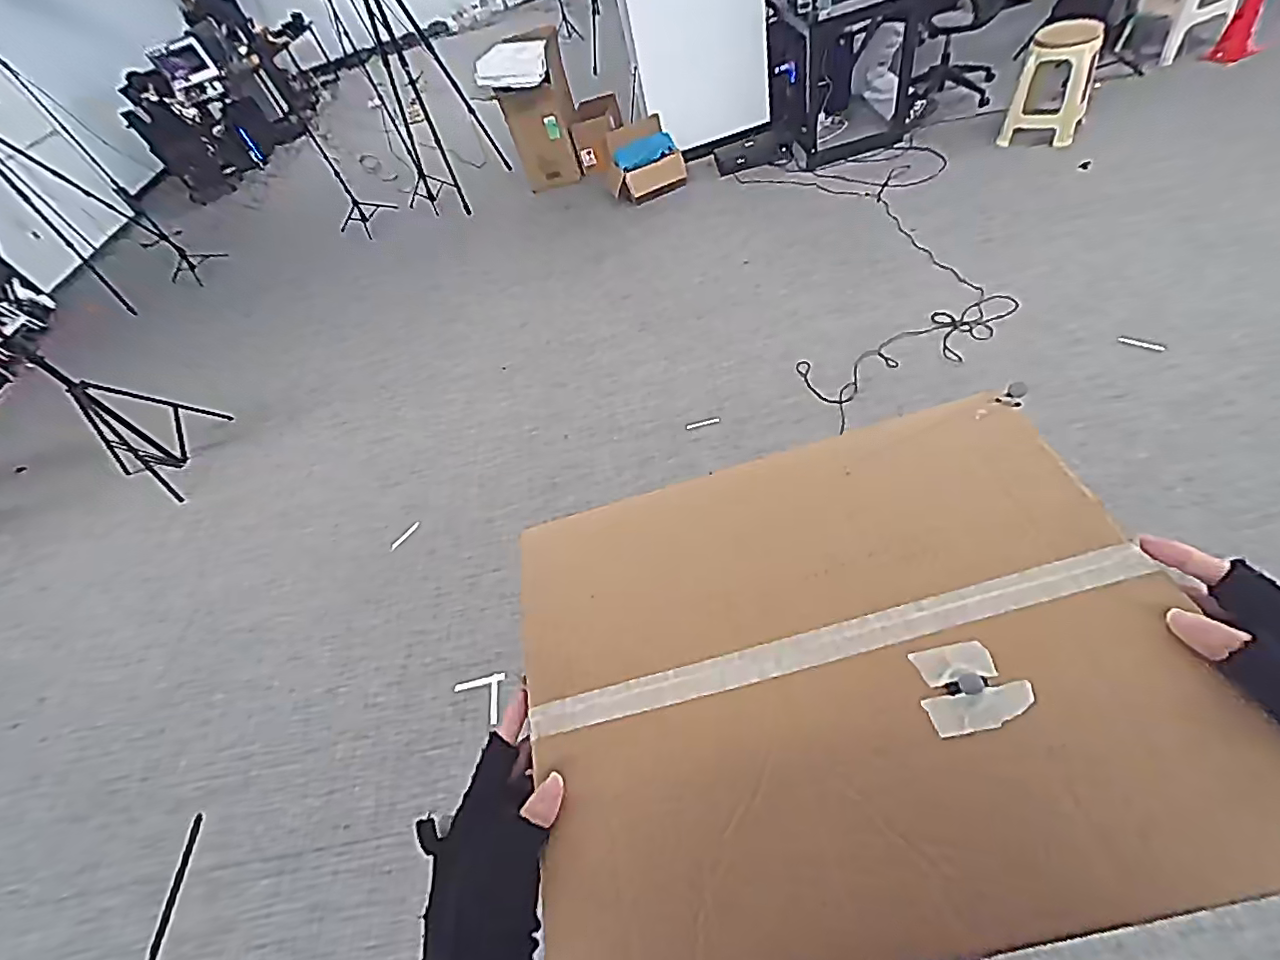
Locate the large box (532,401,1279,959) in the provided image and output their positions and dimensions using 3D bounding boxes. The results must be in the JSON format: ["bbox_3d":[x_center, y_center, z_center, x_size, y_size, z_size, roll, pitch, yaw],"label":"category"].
[{"bbox_3d":[0.156,0.194,0.482,0.408,0.320,0.320,-17,54,4],"label":"large box"}]
